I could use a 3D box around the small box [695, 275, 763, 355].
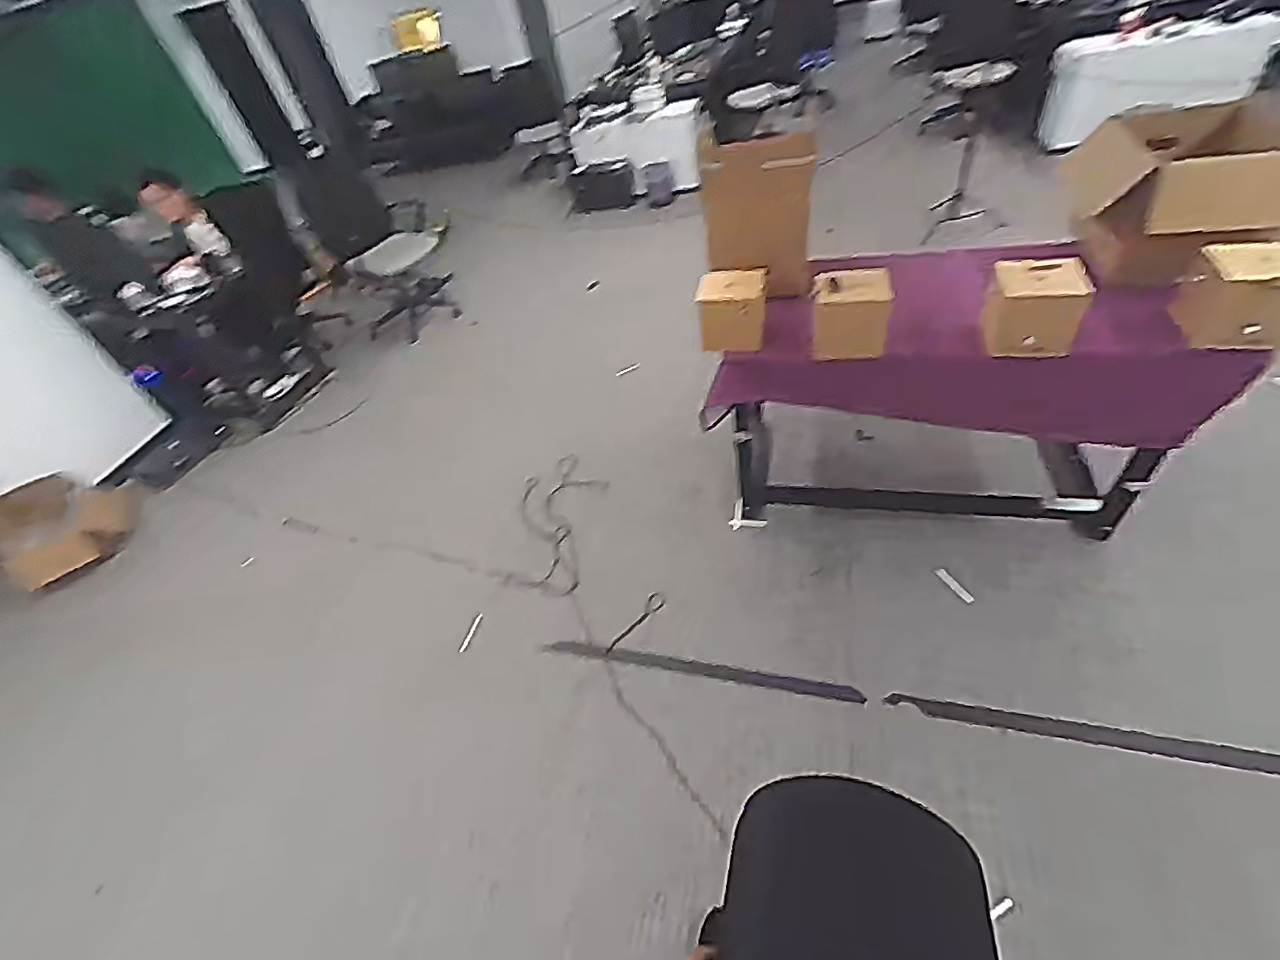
[{"bbox_3d":[0.264,-0.478,1.575,0.179,0.176,0.168,3,46,15],"label":"small box"}]

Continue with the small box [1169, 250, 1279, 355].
[{"bbox_3d":[1.357,-0.403,1.224,0.168,0.176,0.179,7,47,21],"label":"small box"}]

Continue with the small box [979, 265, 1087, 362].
[{"bbox_3d":[0.957,-0.411,1.335,0.168,0.176,0.179,5,47,19],"label":"small box"}]
